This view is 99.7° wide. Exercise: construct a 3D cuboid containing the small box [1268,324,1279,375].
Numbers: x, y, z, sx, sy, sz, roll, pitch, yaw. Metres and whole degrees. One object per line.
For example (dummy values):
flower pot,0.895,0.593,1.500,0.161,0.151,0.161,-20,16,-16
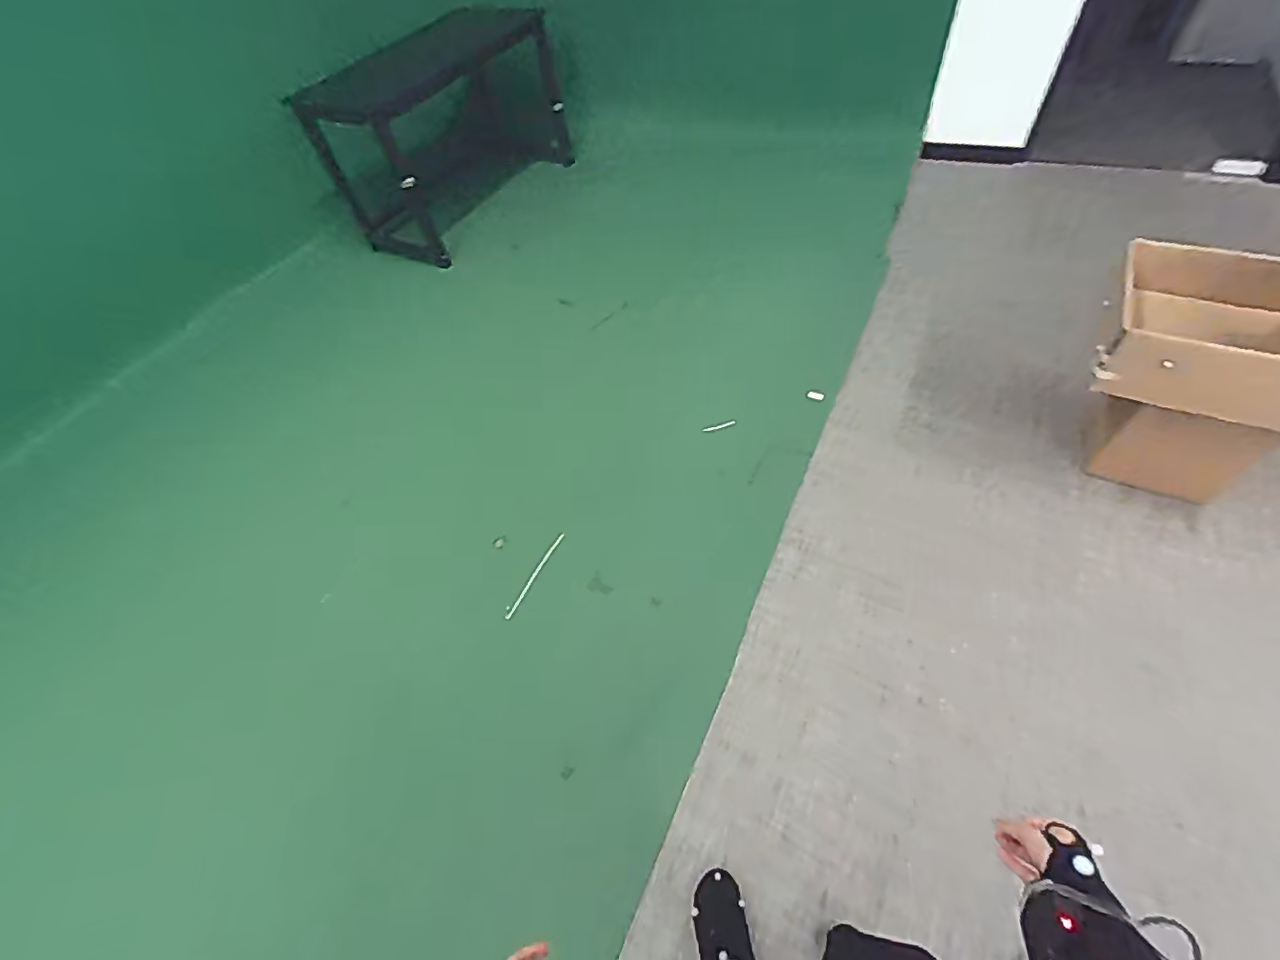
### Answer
small box,1.569,-0.319,1.204,0.168,0.176,0.179,24,61,24
